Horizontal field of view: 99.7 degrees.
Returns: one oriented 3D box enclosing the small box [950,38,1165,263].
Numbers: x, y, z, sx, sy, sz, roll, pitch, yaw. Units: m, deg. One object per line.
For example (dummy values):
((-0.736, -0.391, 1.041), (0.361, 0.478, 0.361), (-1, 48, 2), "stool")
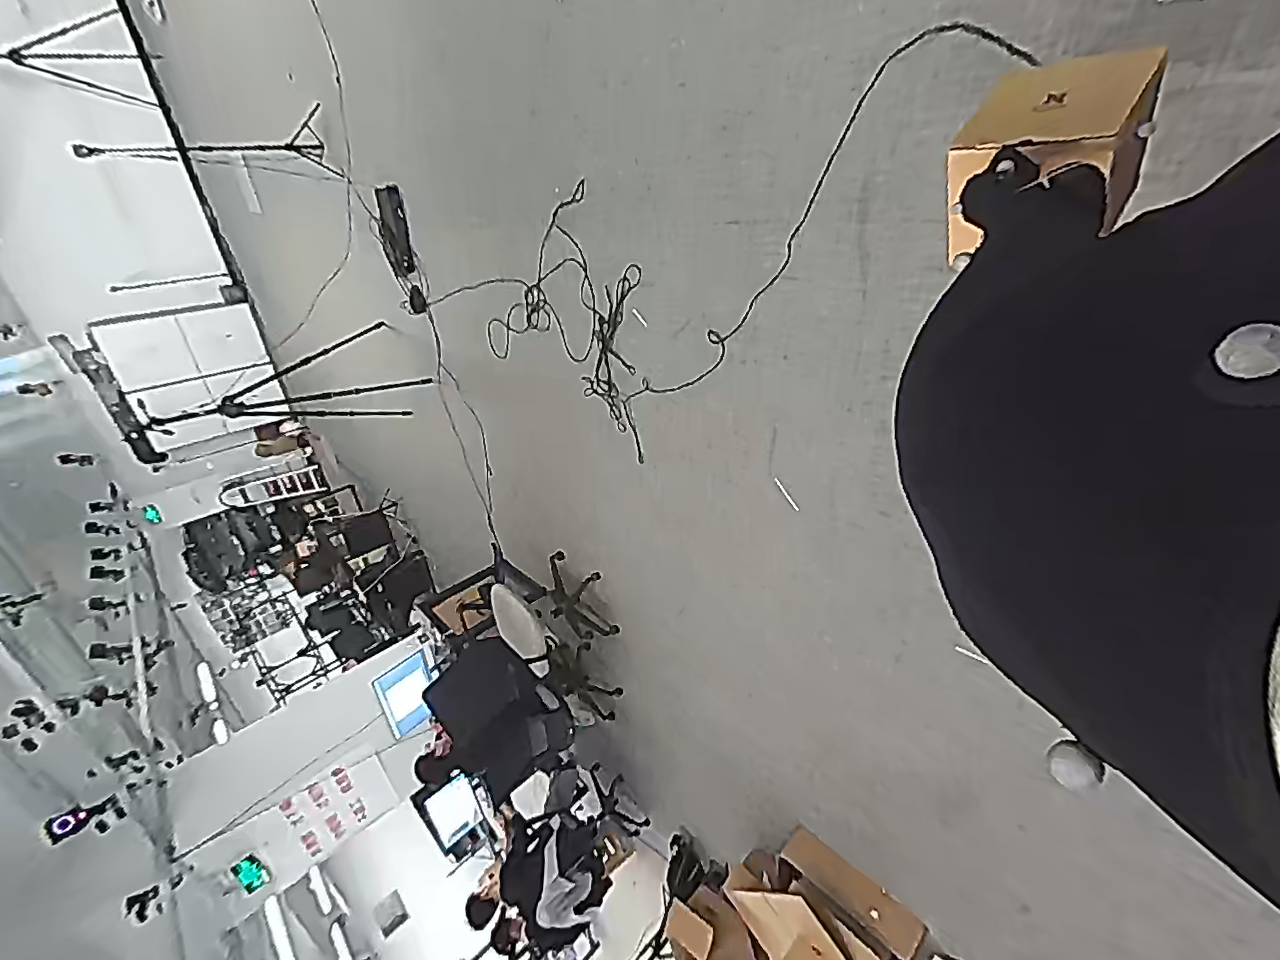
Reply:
((0.519, -0.409, 0.694), (0.168, 0.179, 0.176), (23, 161, 40), "small box")
